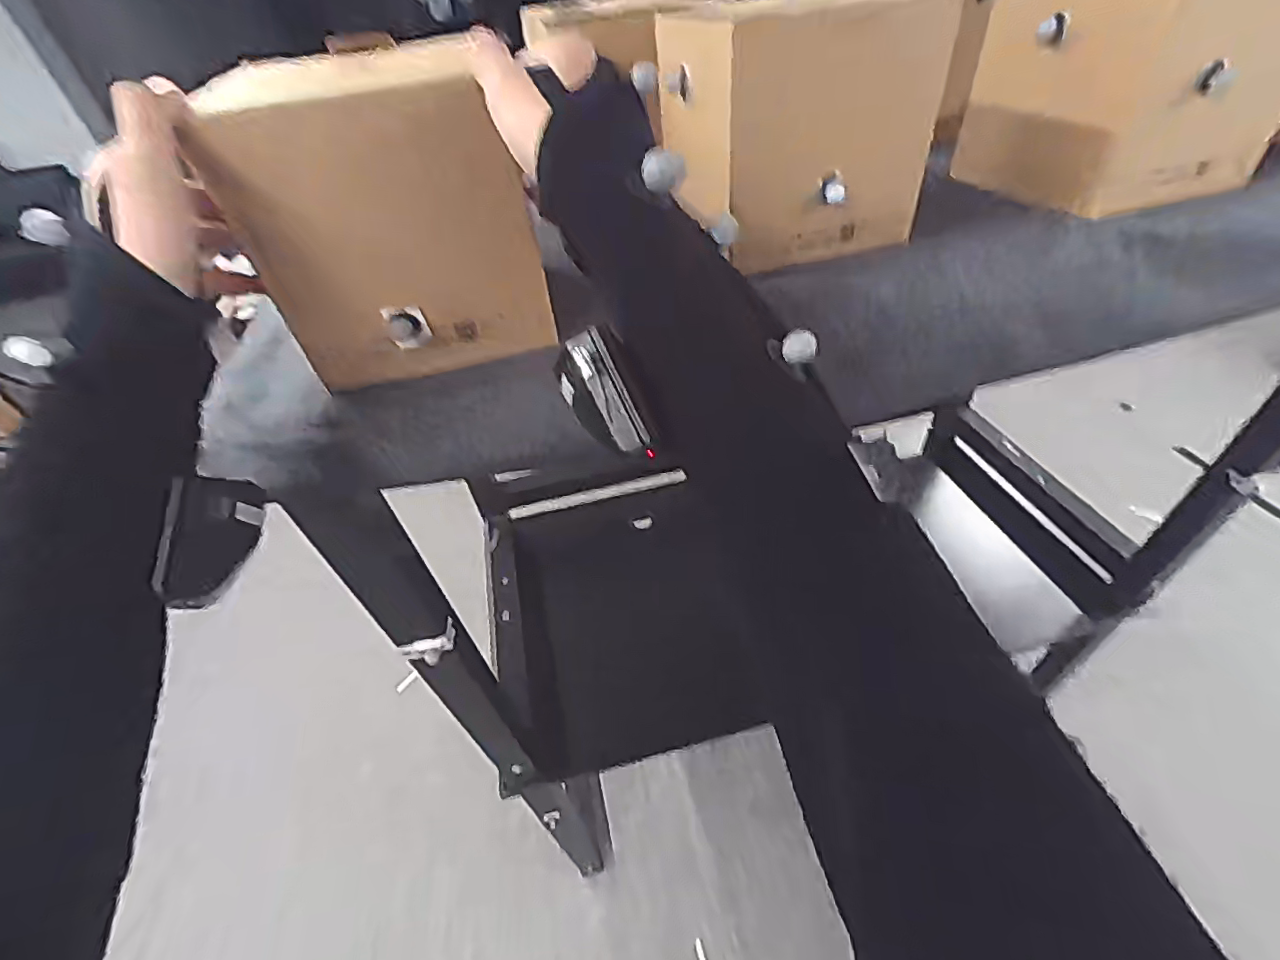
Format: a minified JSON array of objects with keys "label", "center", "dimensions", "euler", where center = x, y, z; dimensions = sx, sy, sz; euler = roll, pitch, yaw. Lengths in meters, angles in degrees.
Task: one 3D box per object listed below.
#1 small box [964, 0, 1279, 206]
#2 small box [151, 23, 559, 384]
[{"label":"small box","center":[0.425,-0.349,0.462],"dimensions":[0.168,0.176,0.179],"euler":[-15,42,-8]},{"label":"small box","center":[-0.161,-0.191,0.371],"dimensions":[0.168,0.176,0.179],"euler":[-15,45,-8]}]
